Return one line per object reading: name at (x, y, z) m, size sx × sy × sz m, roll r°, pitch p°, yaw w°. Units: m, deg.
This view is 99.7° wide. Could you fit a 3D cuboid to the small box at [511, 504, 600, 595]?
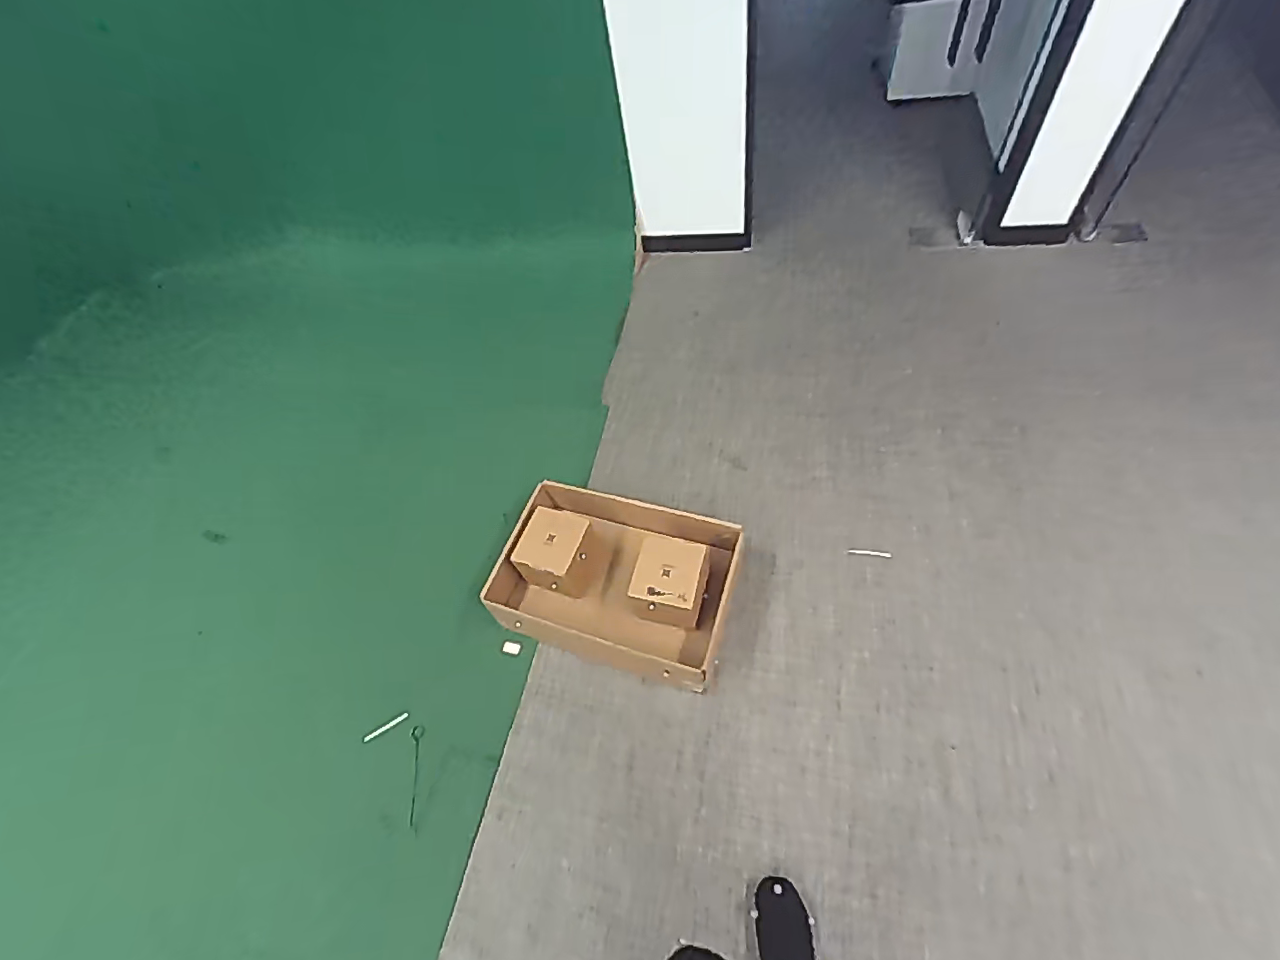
small box at (-0.226, 0.199, 1.511) m, size 0.168 × 0.176 × 0.179 m, roll 14°, pitch 60°, yaw 17°
